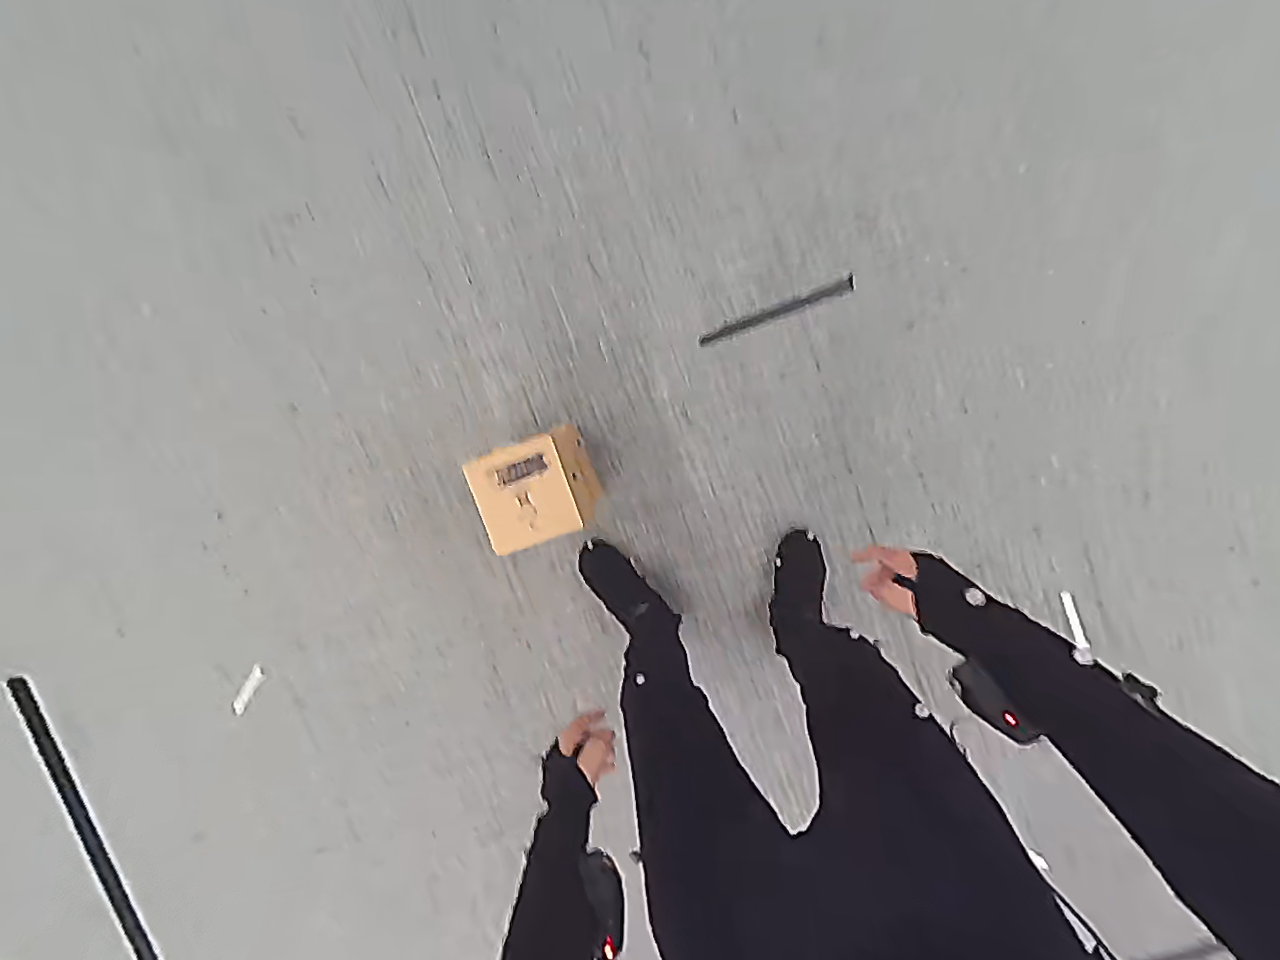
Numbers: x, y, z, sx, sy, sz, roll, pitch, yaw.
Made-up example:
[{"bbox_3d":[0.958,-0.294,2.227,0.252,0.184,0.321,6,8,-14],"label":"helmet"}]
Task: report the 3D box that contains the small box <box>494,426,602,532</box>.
[{"bbox_3d":[-0.192,-0.006,1.178,0.168,0.176,0.179,-22,94,3],"label":"small box"}]
